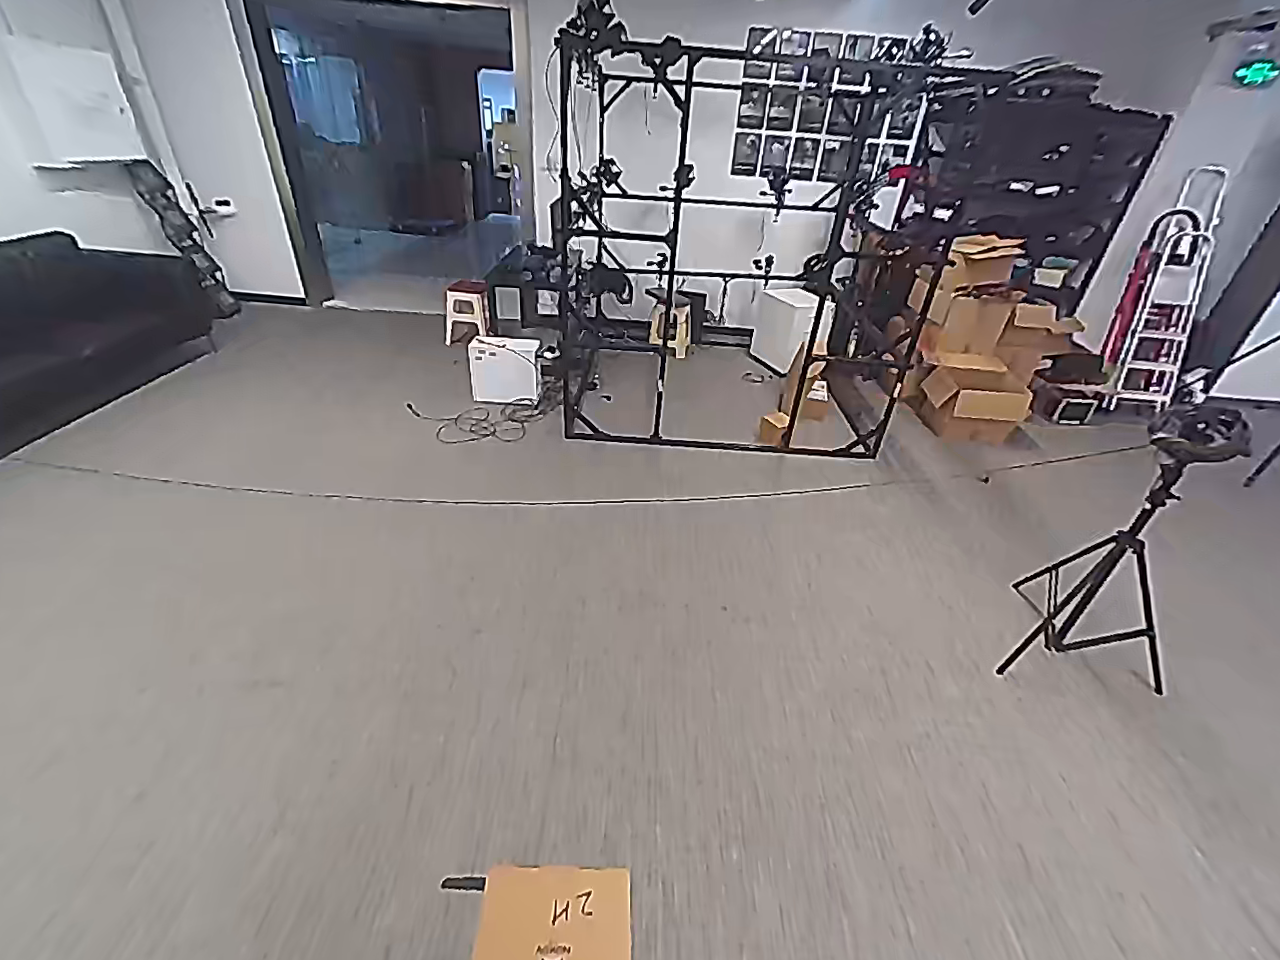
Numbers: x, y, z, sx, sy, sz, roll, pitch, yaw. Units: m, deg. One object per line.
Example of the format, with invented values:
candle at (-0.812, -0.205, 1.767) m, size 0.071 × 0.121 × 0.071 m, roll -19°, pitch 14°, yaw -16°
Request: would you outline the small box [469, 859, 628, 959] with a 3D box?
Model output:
small box at (-0.106, 0.559, 0.604) m, size 0.168 × 0.176 × 0.179 m, roll 8°, pitch 34°, yaw -7°
